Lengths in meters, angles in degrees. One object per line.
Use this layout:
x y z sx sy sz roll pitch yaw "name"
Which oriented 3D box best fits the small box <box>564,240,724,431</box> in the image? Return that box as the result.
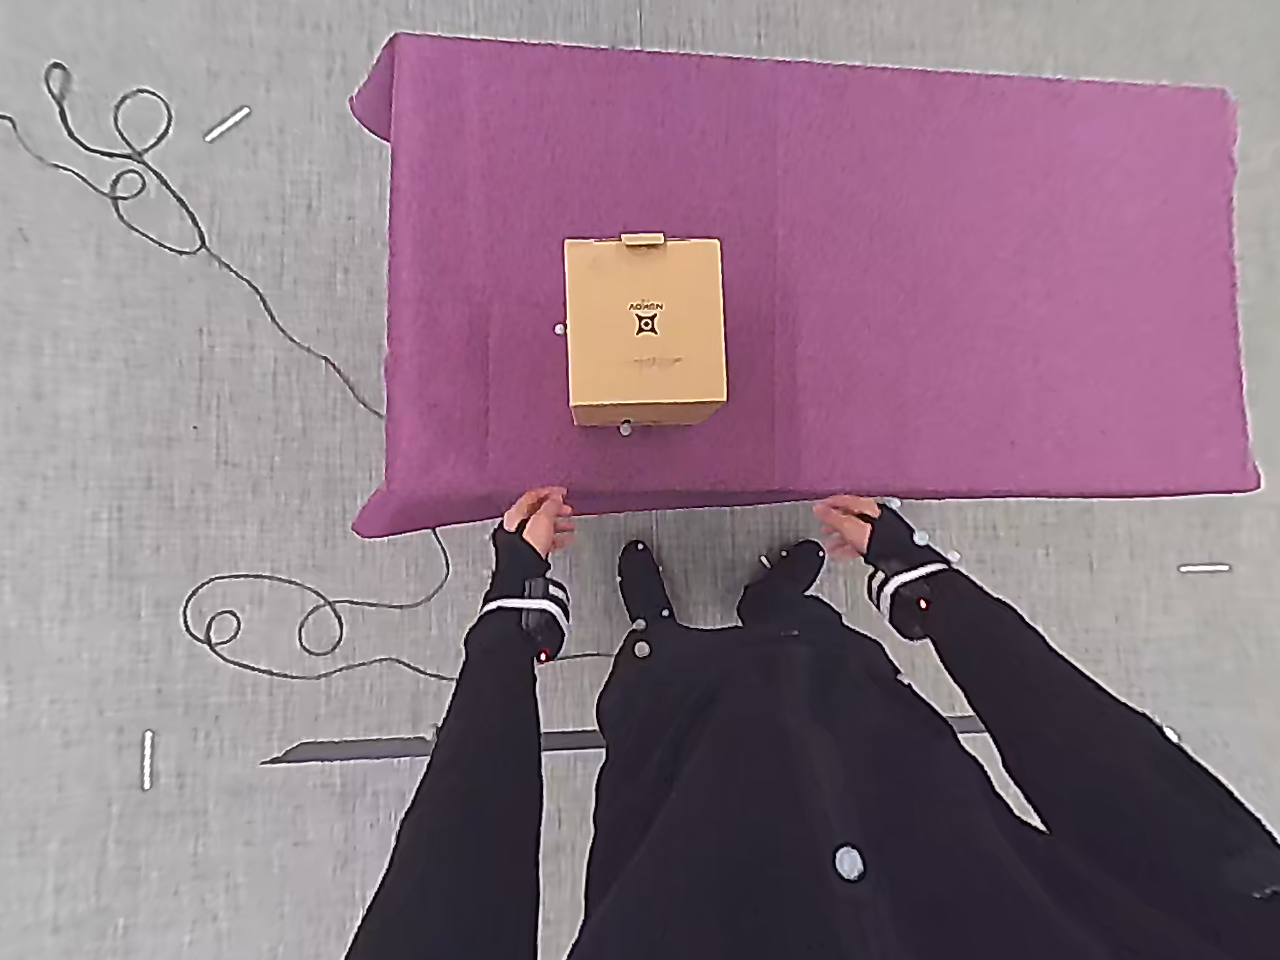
-0.003 -0.156 0.633 0.168 0.176 0.179 -1 87 -4 "small box"
